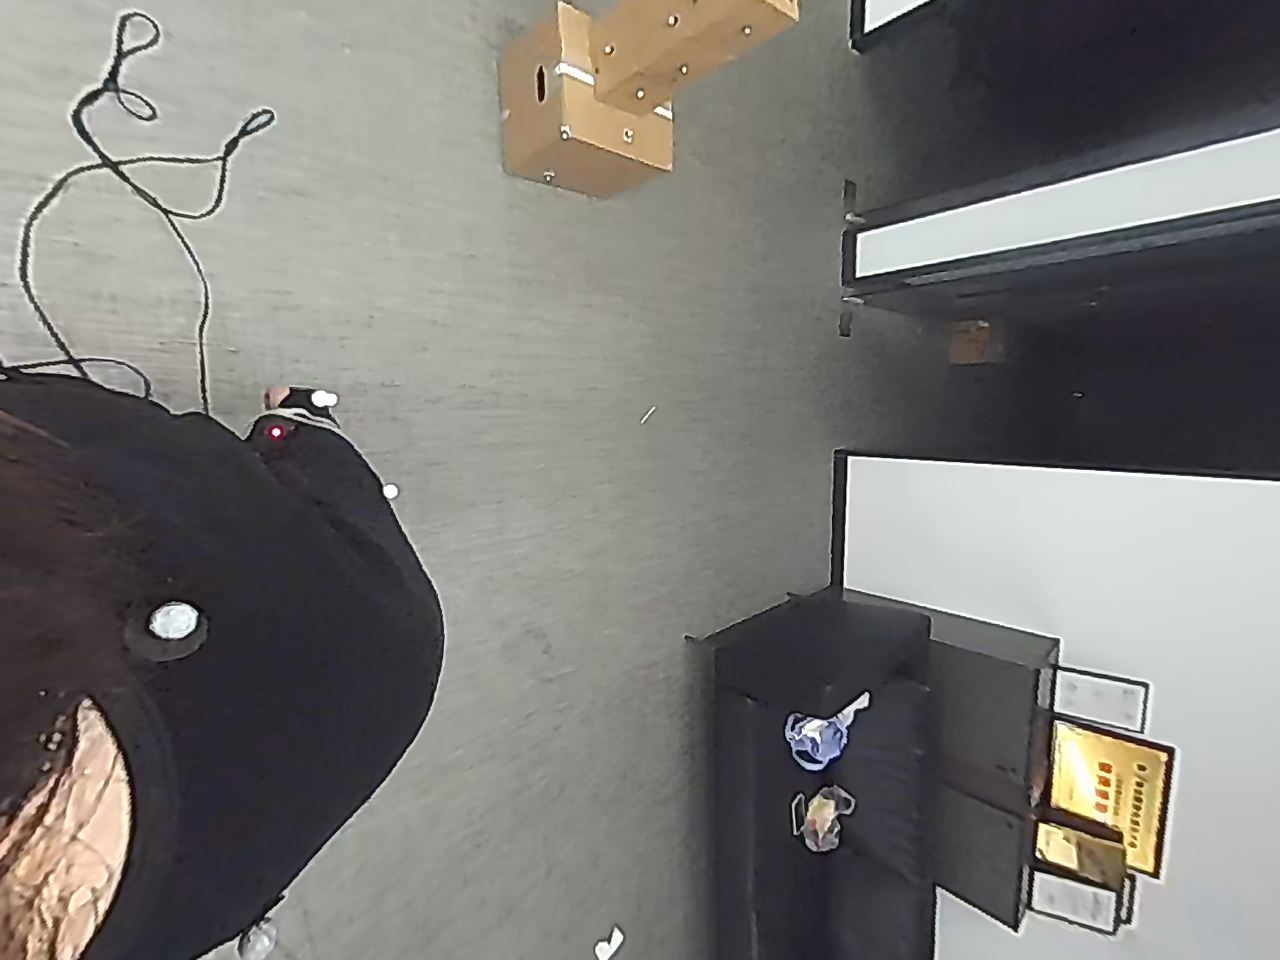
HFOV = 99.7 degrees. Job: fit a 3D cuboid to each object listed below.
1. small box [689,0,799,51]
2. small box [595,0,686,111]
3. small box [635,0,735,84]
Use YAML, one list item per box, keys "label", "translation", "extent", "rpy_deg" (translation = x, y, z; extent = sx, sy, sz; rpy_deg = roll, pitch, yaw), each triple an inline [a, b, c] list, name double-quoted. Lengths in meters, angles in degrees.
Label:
- label: "small box"
  translation: [0.220, -1.072, 1.166]
  extent: [0.179, 0.176, 0.168]
  rpy_deg: [-18, 106, -40]
- label: "small box"
  translation: [-0.005, -1.098, 1.407]
  extent: [0.179, 0.176, 0.168]
  rpy_deg: [-14, 104, -40]
- label: "small box"
  translation: [0.104, -1.086, 1.283]
  extent: [0.168, 0.176, 0.179]
  rpy_deg: [-15, 104, -42]
